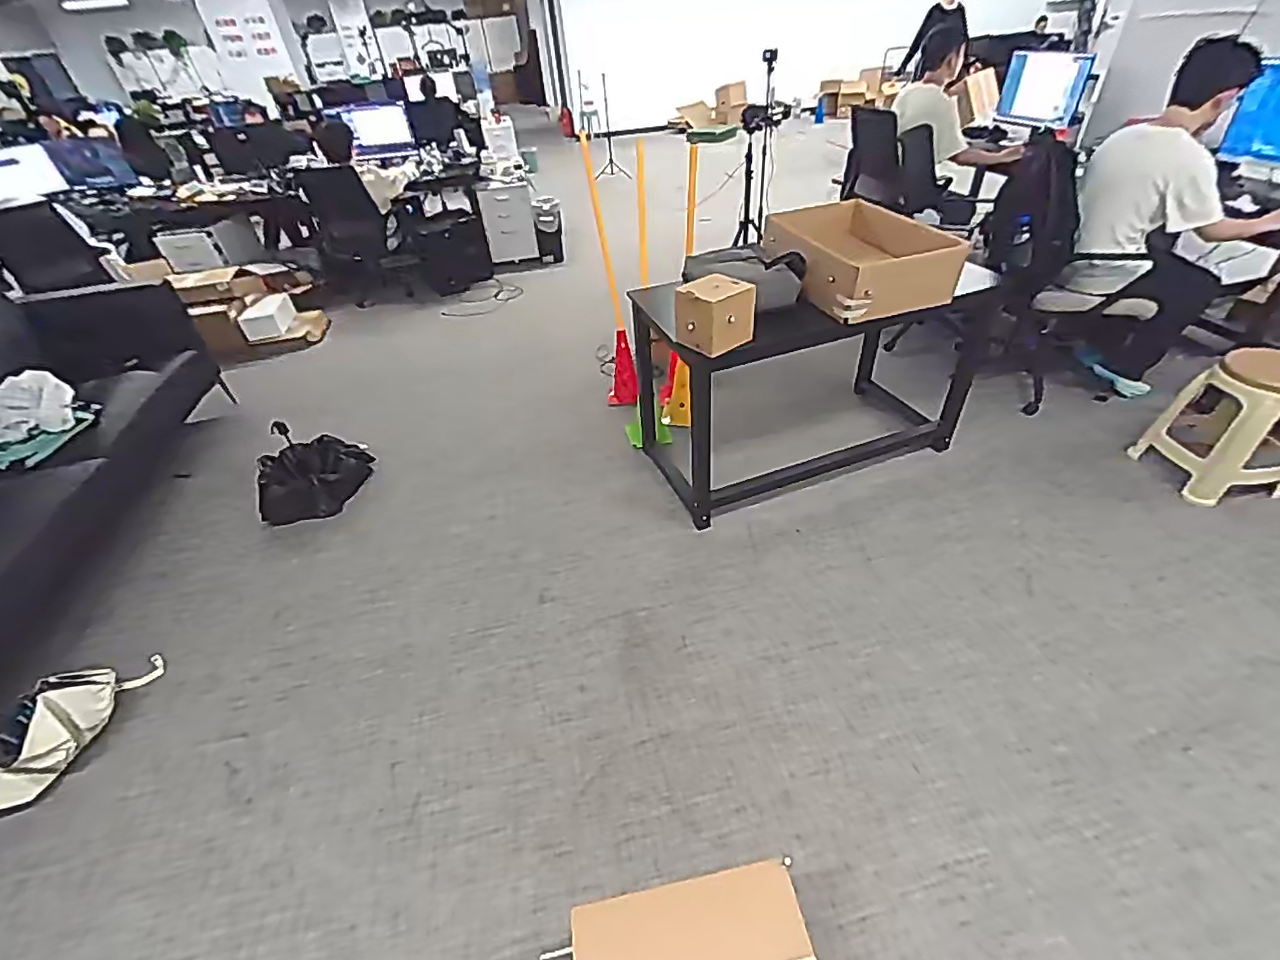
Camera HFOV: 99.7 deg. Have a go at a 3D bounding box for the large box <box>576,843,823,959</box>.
[{"bbox_3d":[0.117,0.933,0.986,0.408,0.320,0.320,-11,41,-5],"label":"large box"}]
